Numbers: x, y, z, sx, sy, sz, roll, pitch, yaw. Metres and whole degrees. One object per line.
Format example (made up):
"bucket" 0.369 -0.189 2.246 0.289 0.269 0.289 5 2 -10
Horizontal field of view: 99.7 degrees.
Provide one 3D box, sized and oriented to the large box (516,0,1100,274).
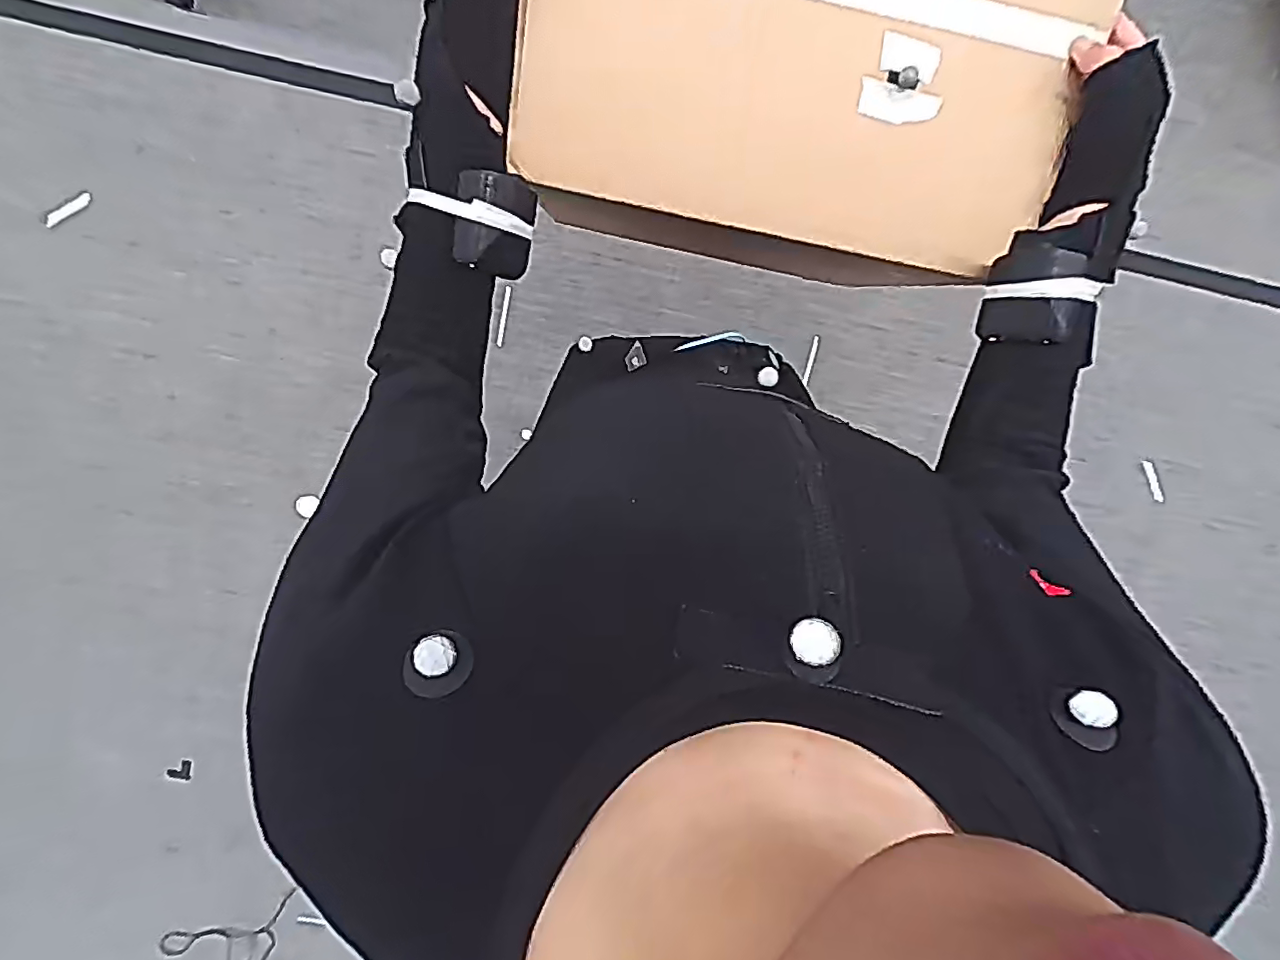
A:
"large box" 0.117 -0.394 0.513 0.408 0.320 0.320 9 110 -7
